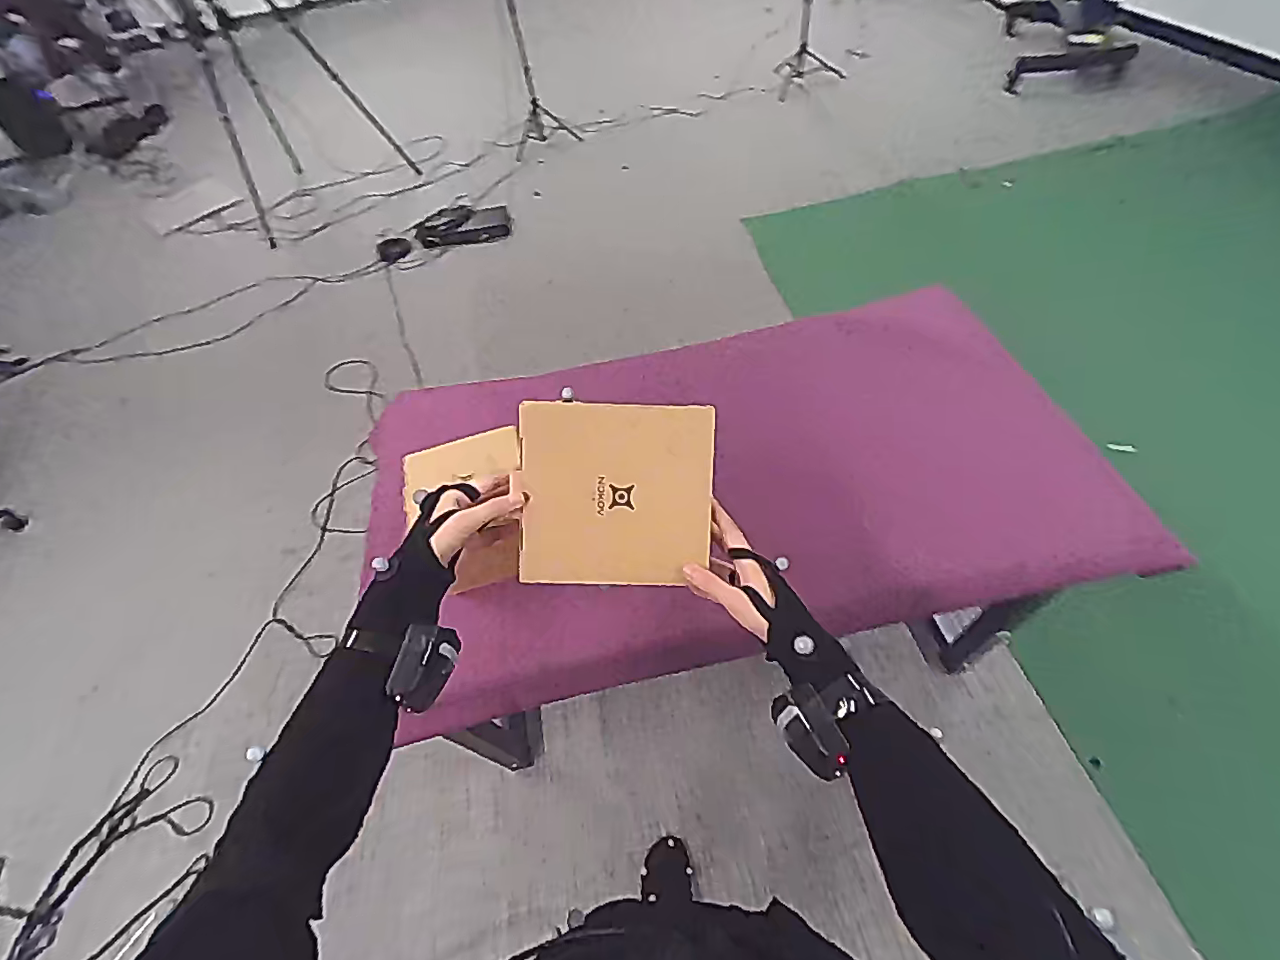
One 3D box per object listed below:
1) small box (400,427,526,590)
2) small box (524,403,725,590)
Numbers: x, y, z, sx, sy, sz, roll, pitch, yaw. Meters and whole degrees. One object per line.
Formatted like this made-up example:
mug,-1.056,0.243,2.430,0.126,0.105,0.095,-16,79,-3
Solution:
small box,-0.250,0.050,0.842,0.179,0.176,0.168,-16,54,-4
small box,-0.017,0.007,0.561,0.179,0.176,0.168,2,97,-1
